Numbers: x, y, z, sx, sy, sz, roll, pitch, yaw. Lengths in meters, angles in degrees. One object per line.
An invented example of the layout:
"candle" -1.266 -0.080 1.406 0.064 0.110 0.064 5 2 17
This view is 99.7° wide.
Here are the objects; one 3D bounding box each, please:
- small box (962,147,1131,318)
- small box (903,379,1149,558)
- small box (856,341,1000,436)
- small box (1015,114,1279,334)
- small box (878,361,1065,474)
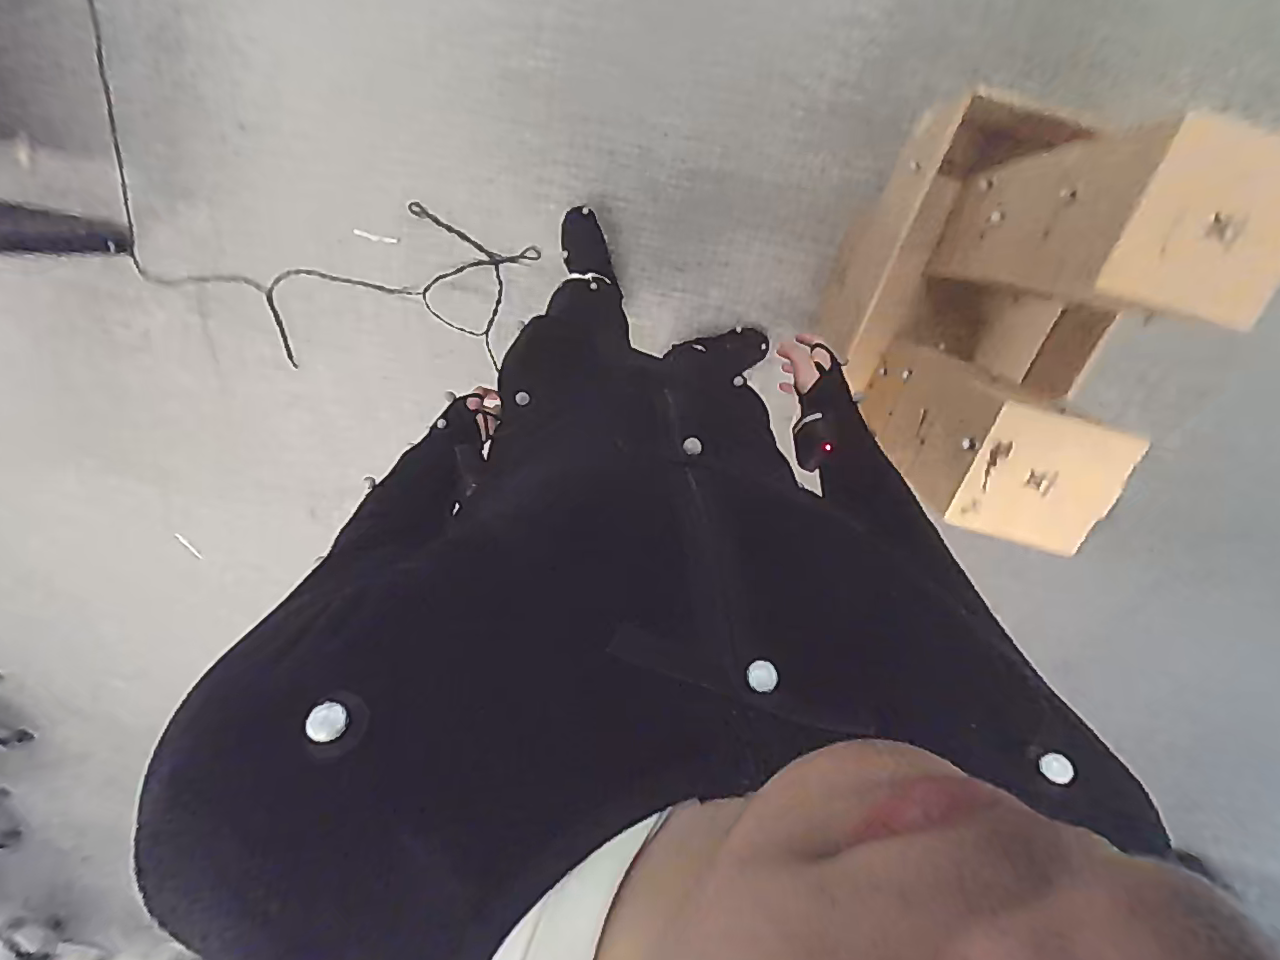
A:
"small box" 0.605 -0.341 0.760 0.179 0.176 0.168 16 113 0
"small box" 0.495 -0.025 0.728 0.179 0.176 0.168 16 113 0
"small box" 0.543 -0.153 1.027 0.179 0.176 0.168 20 114 -1
"small box" 0.585 -0.279 0.610 0.179 0.176 0.168 16 112 -1
"small box" 0.517 -0.086 0.879 0.179 0.176 0.168 15 114 0
